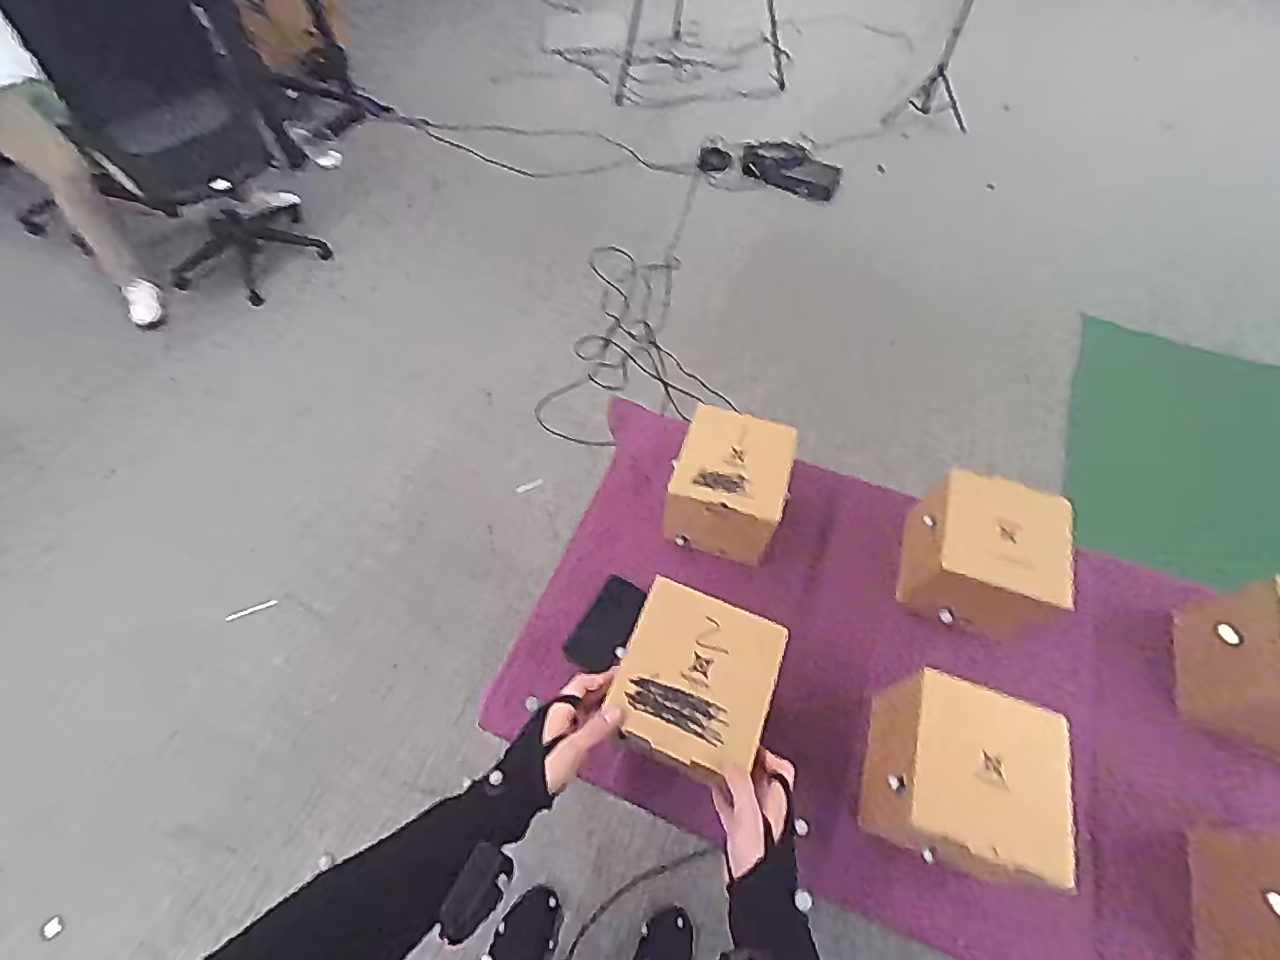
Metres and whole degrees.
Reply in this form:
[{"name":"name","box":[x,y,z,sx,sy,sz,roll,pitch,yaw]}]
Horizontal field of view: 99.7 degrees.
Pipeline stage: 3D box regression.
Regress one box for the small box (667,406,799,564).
[{"name":"small box","box":[0.145,0.014,0.883,0.168,0.176,0.179,17,59,9]}]

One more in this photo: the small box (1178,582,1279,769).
[{"name":"small box","box":[0.884,0.273,0.729,0.168,0.176,0.179,22,60,13]}]

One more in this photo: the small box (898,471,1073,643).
[{"name":"small box","box":[0.515,0.120,0.822,0.168,0.176,0.179,19,60,12]}]

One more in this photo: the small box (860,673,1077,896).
[{"name":"small box","box":[0.390,0.368,0.667,0.168,0.176,0.179,18,59,10]}]

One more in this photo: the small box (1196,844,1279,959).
[{"name":"small box","box":[0.751,0.516,0.573,0.168,0.176,0.179,21,60,14]}]
